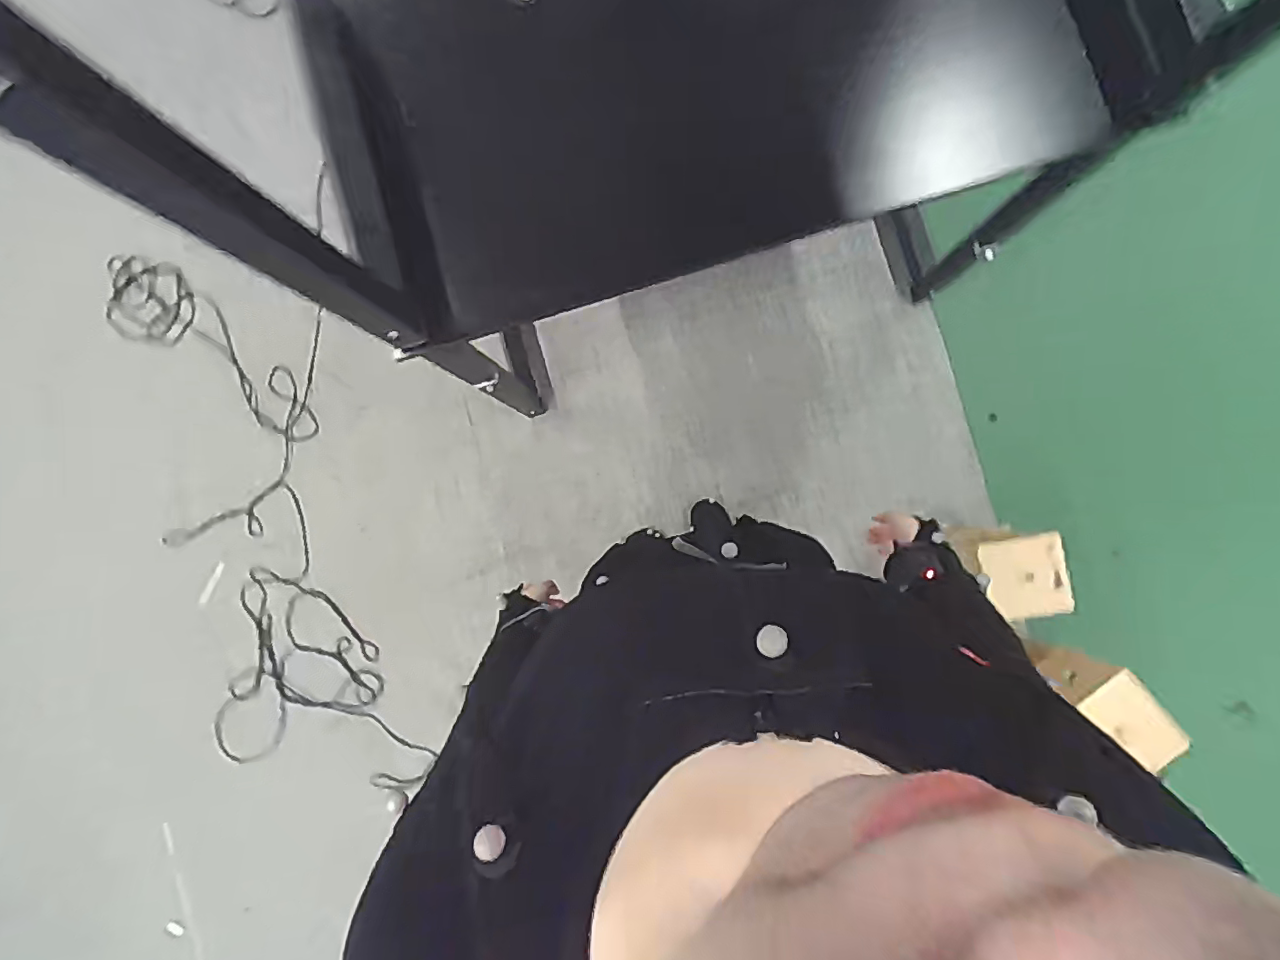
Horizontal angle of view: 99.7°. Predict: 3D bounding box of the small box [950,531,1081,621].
[{"bbox_3d":[0.822,0.208,1.208,0.179,0.176,0.168,-10,87,4],"label":"small box"}]
